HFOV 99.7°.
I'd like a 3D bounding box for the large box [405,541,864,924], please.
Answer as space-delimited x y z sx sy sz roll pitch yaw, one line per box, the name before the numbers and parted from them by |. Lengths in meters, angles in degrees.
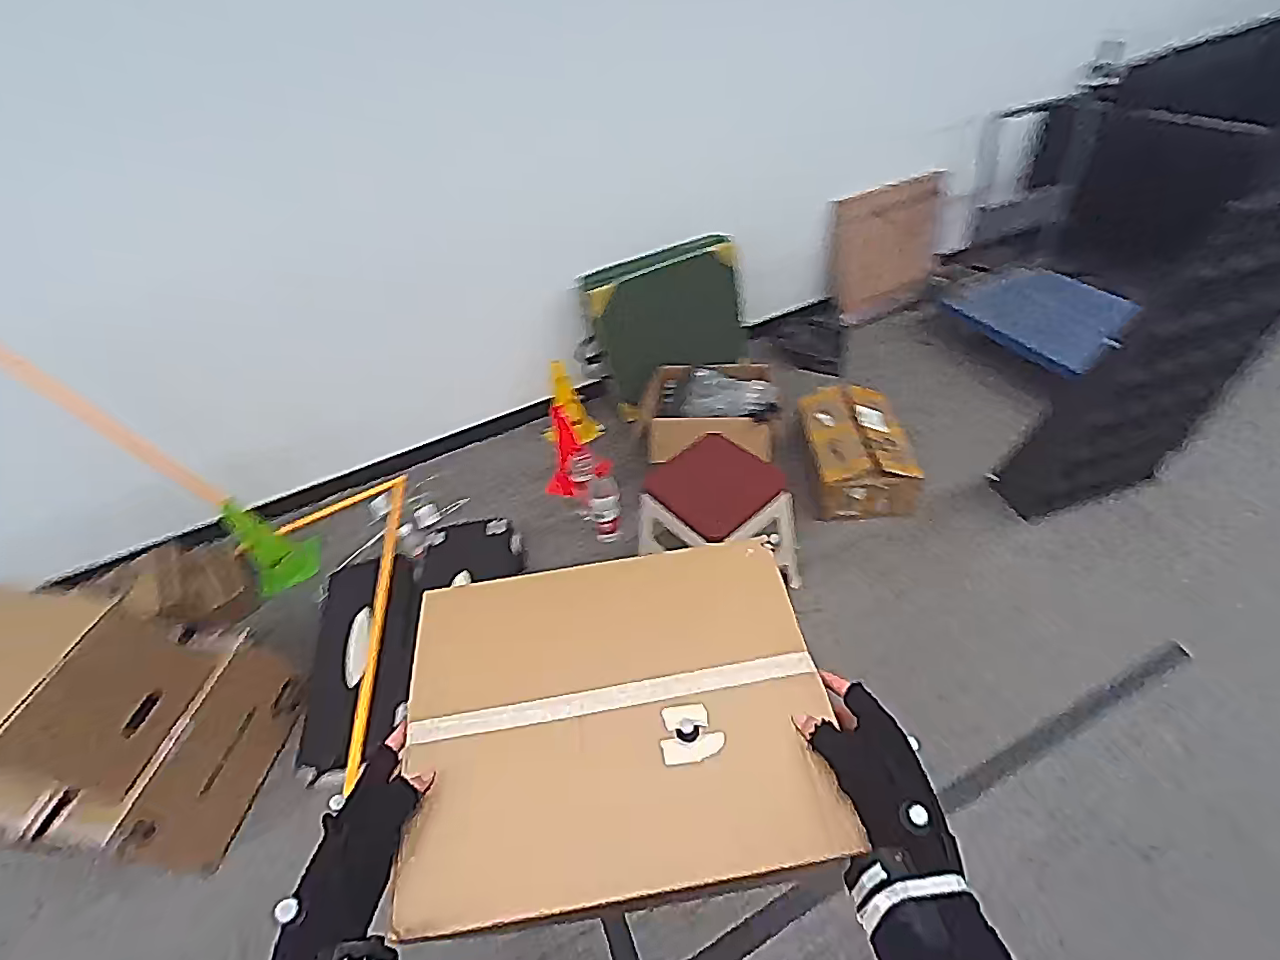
large box | -0.012 0.313 0.663 0.408 0.320 0.320 -8 50 -2
